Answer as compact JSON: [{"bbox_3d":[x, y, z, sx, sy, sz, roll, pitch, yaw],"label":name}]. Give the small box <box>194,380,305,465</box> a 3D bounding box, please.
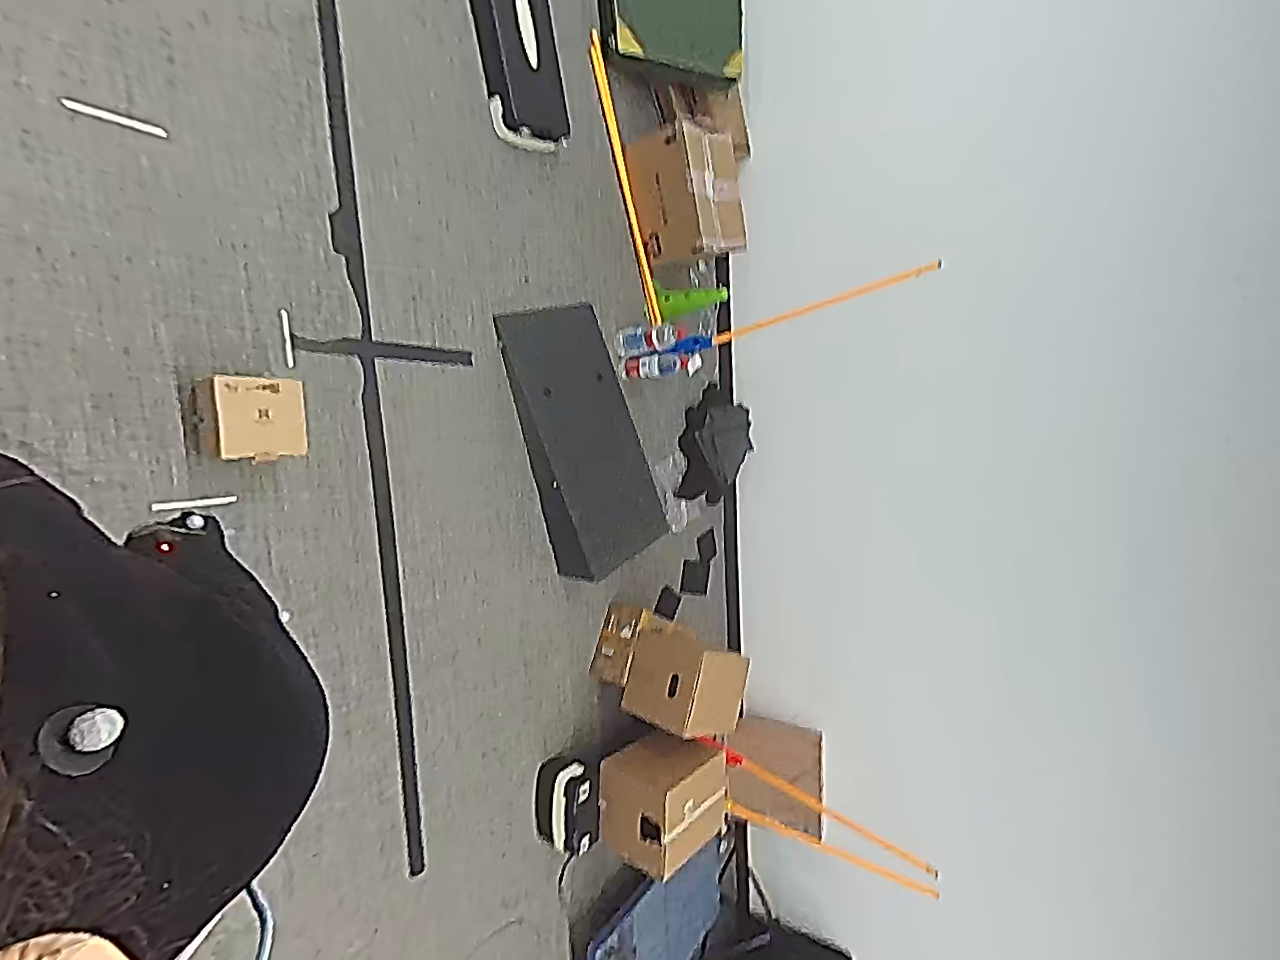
[{"bbox_3d":[-0.881,-0.128,1.220,0.168,0.176,0.179,-7,98,-51],"label":"small box"}]
